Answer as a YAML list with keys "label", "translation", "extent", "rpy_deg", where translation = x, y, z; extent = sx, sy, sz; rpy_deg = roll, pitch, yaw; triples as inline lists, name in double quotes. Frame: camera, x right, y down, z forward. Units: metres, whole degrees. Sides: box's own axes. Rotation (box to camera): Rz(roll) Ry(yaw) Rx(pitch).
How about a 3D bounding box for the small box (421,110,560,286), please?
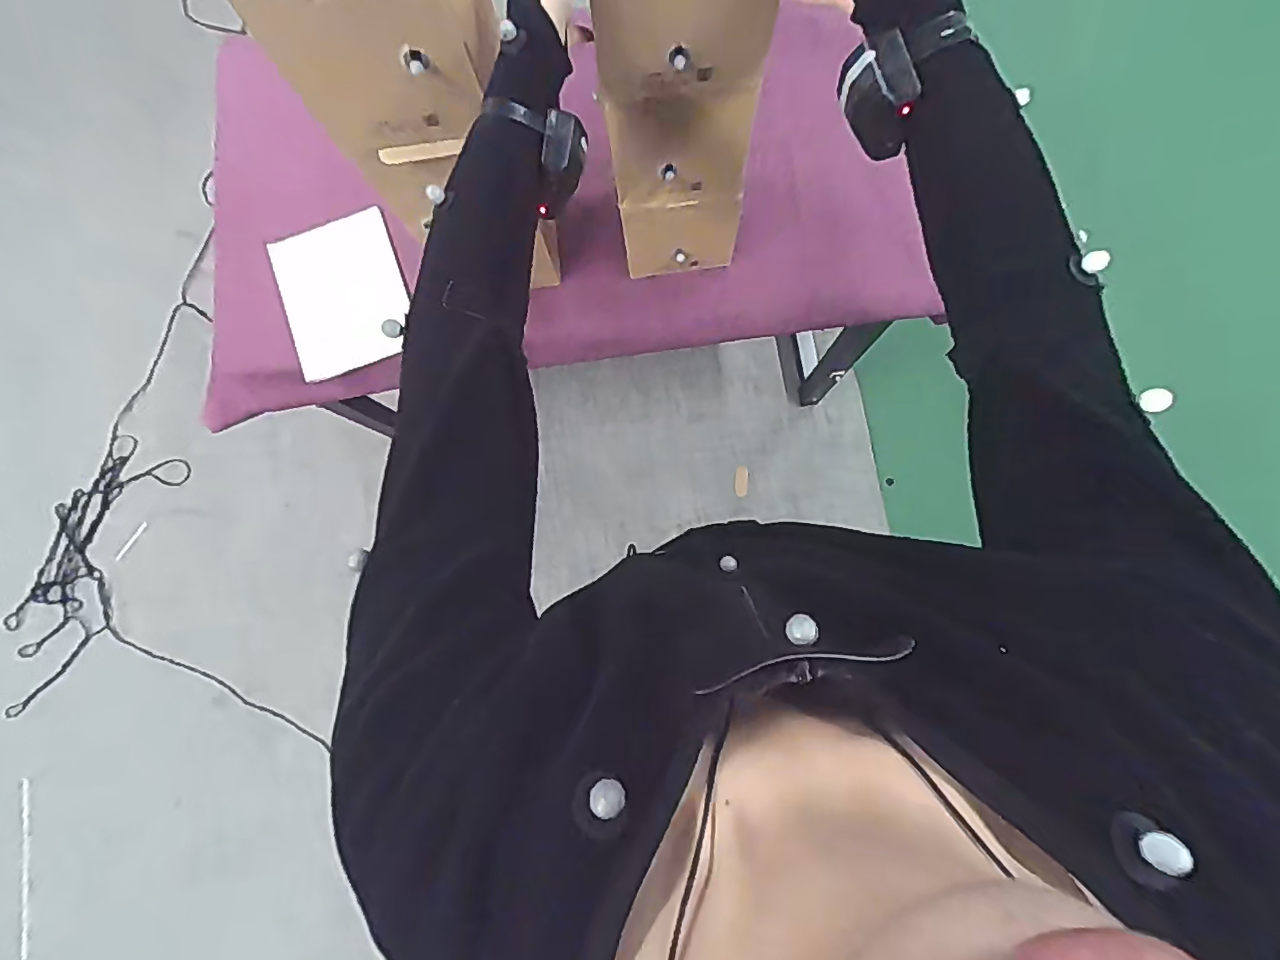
- label: "small box"
  translation: [-0.222, -0.414, 0.824]
  extent: [0.168, 0.176, 0.179]
  rpy_deg: [-6, 82, 1]

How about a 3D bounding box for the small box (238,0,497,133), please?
- label: "small box"
  translation: [-0.237, -0.454, 0.499]
  extent: [0.168, 0.176, 0.179]
  rpy_deg: [-5, 80, 1]

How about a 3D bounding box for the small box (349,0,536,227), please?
- label: "small box"
  translation: [-0.229, -0.434, 0.661]
  extent: [0.168, 0.176, 0.179]
  rpy_deg: [-6, 80, 2]

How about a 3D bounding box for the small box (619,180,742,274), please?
- label: "small box"
  translation: [0.052, -0.441, 0.813]
  extent: [0.168, 0.176, 0.179]
  rpy_deg: [-6, 80, 3]

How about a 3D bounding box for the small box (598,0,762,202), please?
- label: "small box"
  translation: [0.041, -0.474, 0.654]
  extent: [0.168, 0.176, 0.179]
  rpy_deg: [-6, 80, 2]
